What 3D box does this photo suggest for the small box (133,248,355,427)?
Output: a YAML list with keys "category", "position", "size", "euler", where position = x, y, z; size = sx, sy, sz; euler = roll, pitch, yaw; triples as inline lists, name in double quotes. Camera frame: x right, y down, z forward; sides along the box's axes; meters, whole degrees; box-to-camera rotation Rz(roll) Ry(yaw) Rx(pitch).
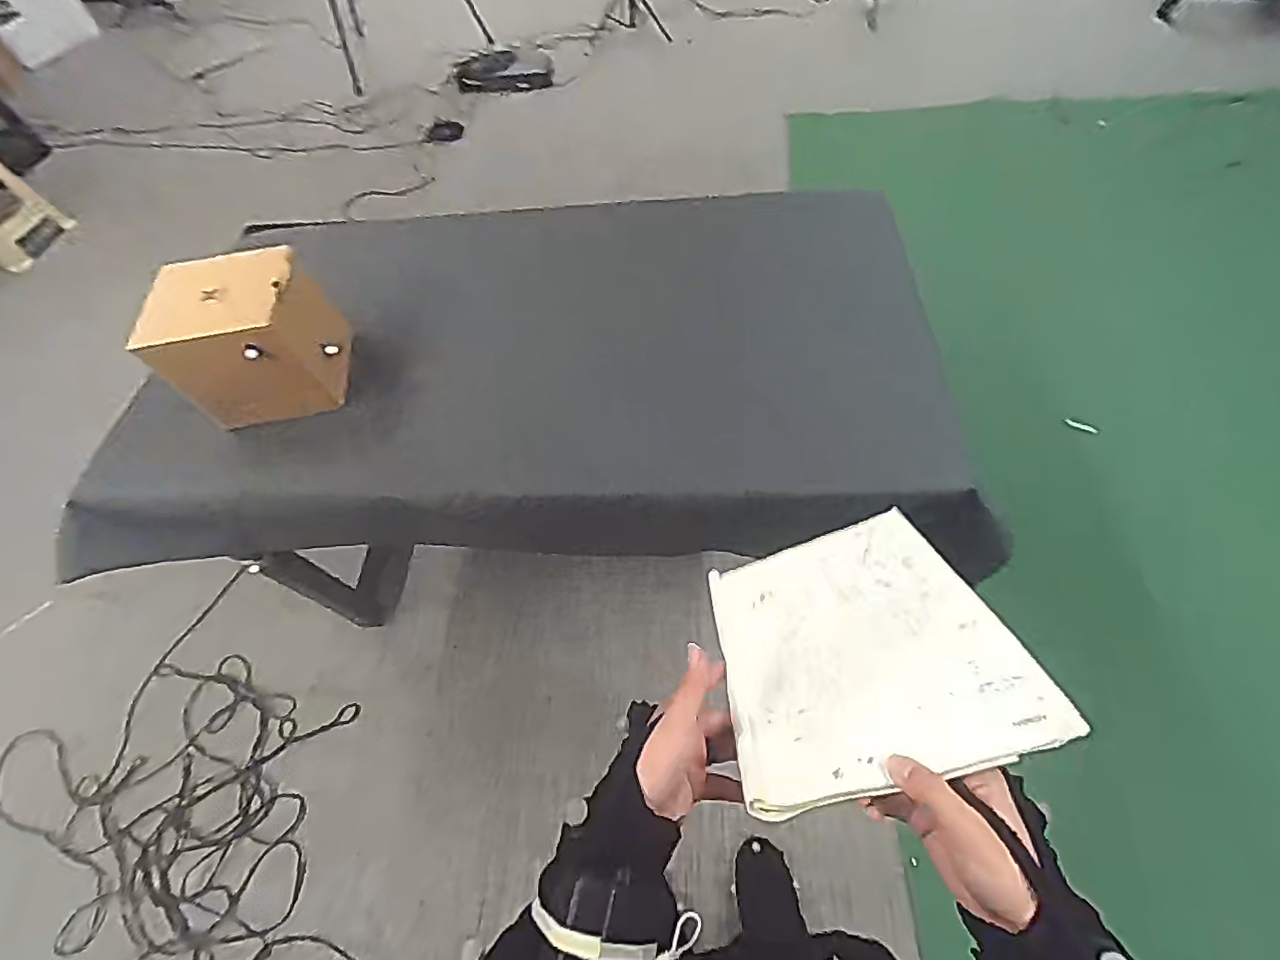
- category: "small box"
  position: [-0.543, -0.196, 0.772]
  size: [0.179, 0.176, 0.168]
  euler: [-11, 58, -2]
